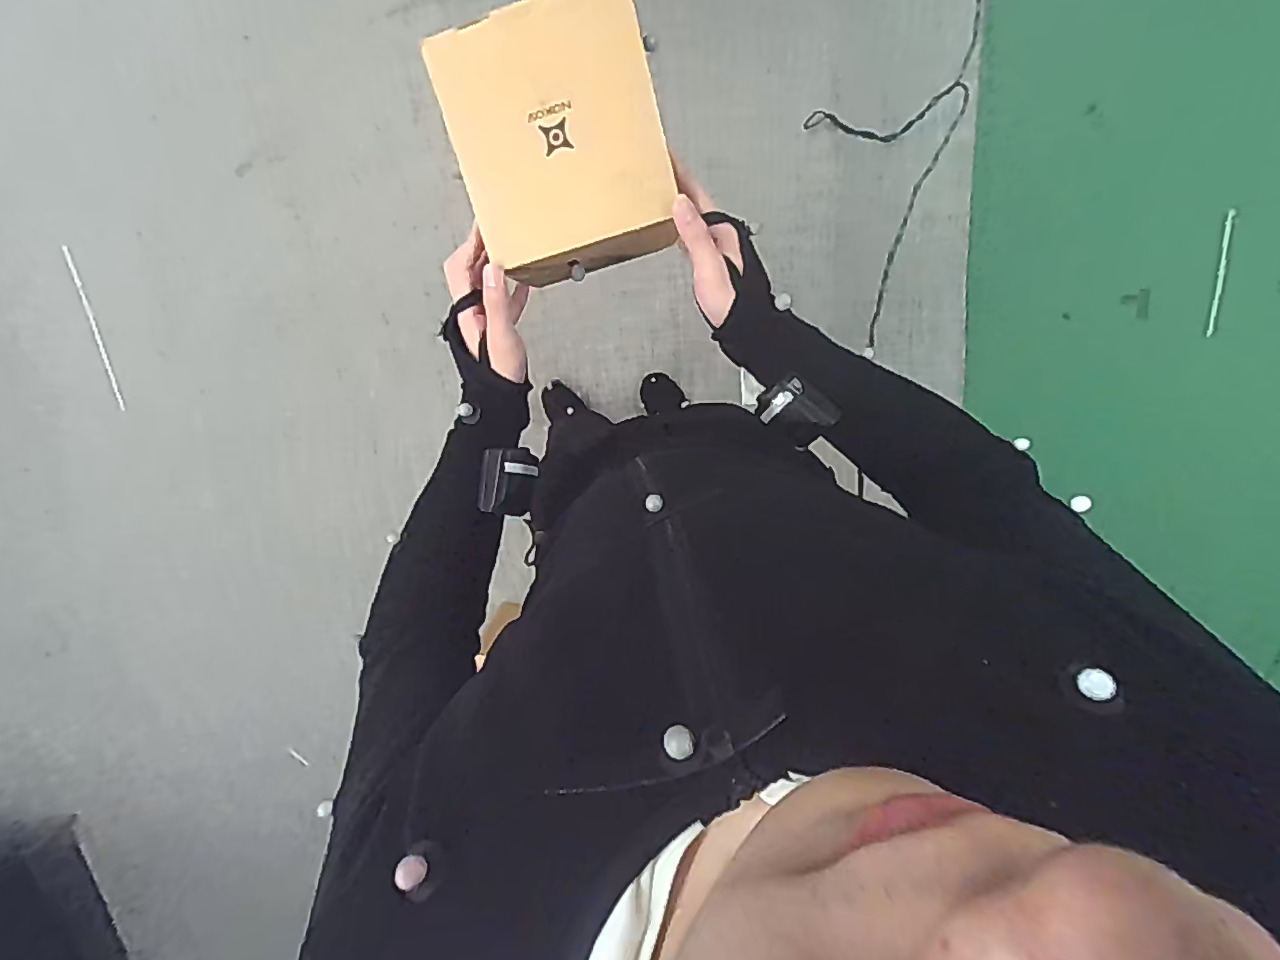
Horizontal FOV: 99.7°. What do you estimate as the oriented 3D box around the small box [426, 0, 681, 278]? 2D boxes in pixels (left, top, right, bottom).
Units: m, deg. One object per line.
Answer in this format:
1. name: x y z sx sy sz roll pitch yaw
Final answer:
1. small box: -0.060 -0.296 0.498 0.168 0.176 0.179 -14 103 6
